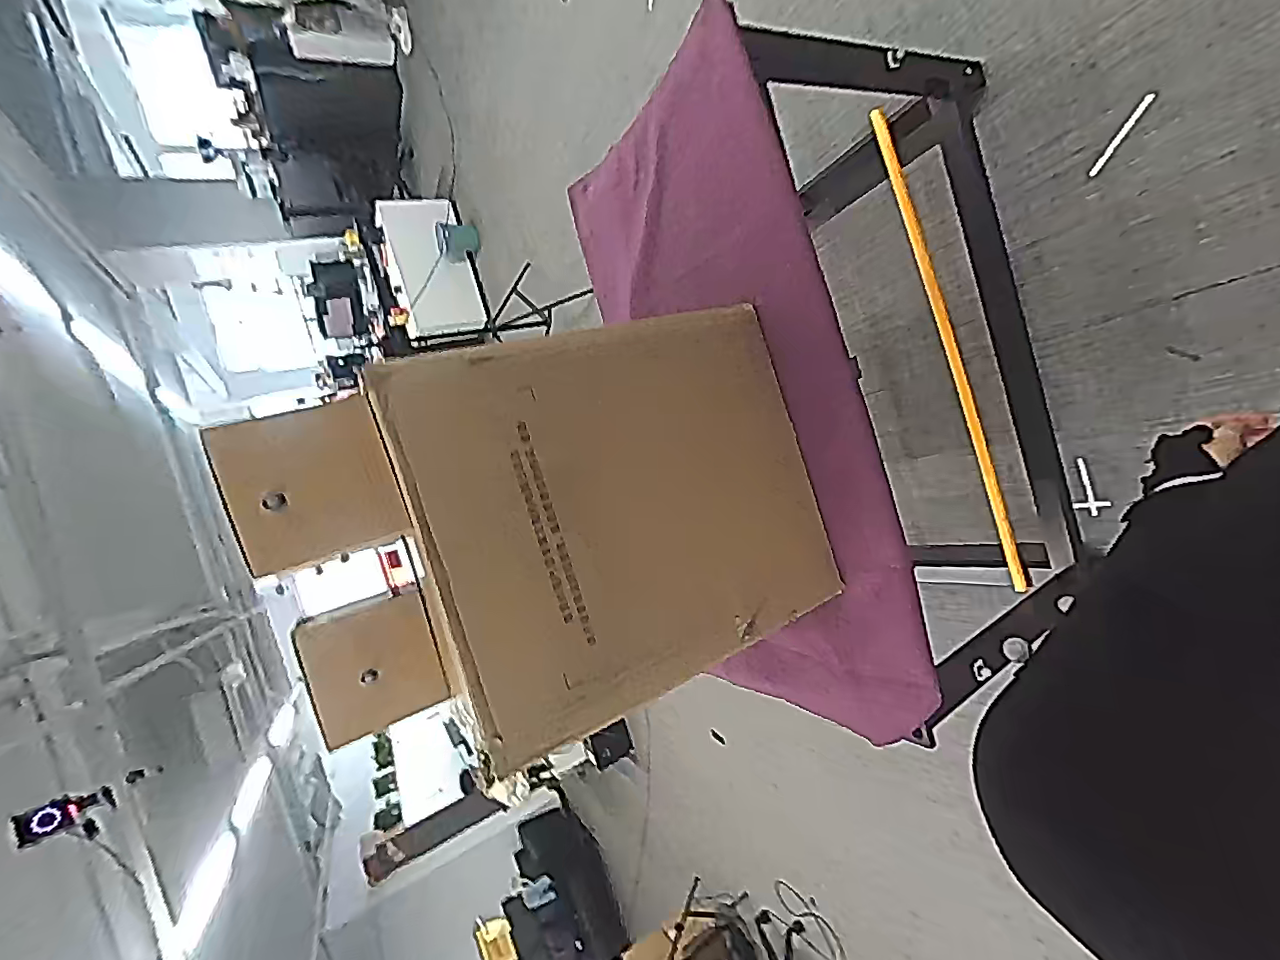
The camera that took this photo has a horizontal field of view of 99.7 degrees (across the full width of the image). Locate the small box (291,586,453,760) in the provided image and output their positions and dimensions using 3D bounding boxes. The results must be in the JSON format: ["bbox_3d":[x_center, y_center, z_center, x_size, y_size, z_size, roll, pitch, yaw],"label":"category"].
[{"bbox_3d":[-0.404,0.277,0.826,0.168,0.176,0.179,-6,102,63],"label":"small box"}]
